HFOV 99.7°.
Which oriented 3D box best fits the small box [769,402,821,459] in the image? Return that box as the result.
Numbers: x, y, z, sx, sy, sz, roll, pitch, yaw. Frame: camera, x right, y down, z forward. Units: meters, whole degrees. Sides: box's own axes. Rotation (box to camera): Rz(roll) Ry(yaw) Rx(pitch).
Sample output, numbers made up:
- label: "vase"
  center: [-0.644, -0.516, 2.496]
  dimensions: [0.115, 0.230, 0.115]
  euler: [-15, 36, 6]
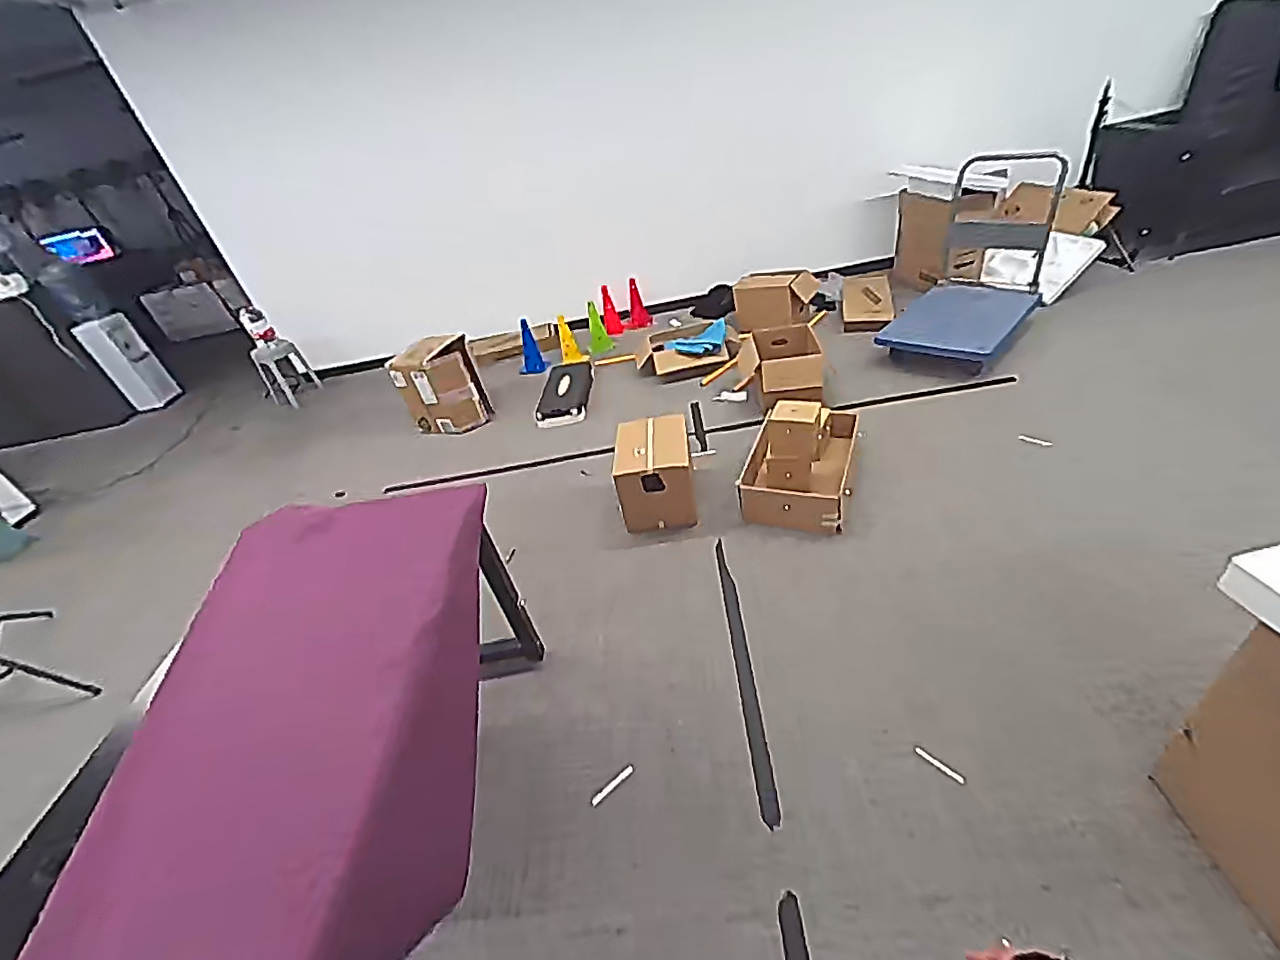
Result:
- label: "small box"
  center: [0.631, -0.200, 2.195]
  dimensions: [0.179, 0.176, 0.168]
  euler: [8, 38, 25]

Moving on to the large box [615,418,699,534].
- label: "large box"
  center: [0.078, -0.022, 2.373]
  dimensions: [0.320, 0.320, 0.408]
  euler: [-9, 37, 7]
